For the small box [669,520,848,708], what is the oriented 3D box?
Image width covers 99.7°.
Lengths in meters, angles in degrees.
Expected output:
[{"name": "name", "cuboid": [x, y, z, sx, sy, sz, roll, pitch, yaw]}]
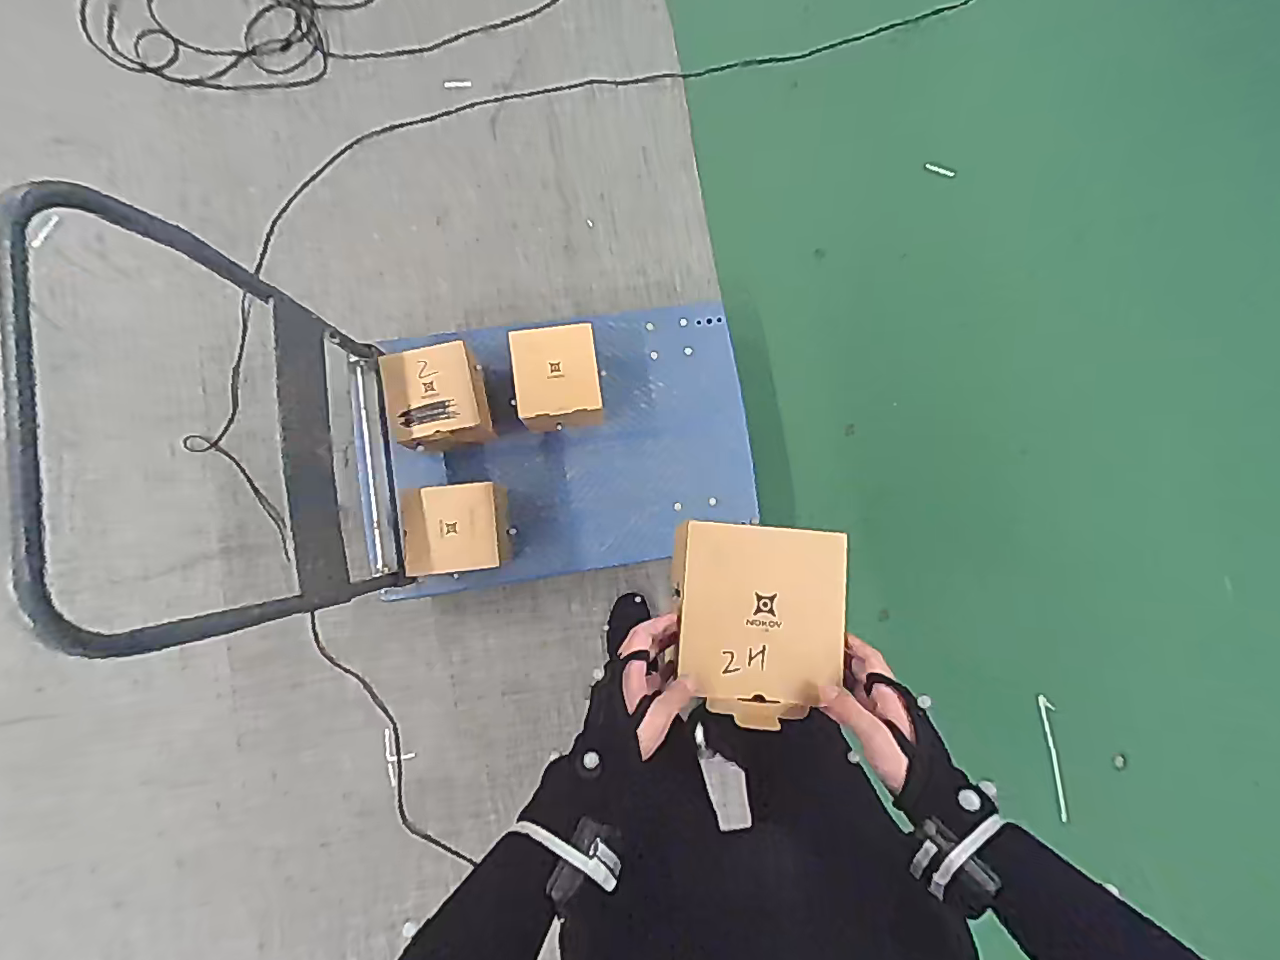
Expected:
[{"name": "small box", "cuboid": [0.125, 0.145, 0.629, 0.168, 0.176, 0.179, 5, 83, 0]}]

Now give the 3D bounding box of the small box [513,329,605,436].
[{"name": "small box", "cuboid": [-0.168, -0.200, 1.144, 0.168, 0.176, 0.179, -8, 87, -5]}]

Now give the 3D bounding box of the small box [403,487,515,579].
[{"name": "small box", "cuboid": [-0.361, 0.108, 1.101, 0.179, 0.176, 0.168, -5, 85, -5]}]
